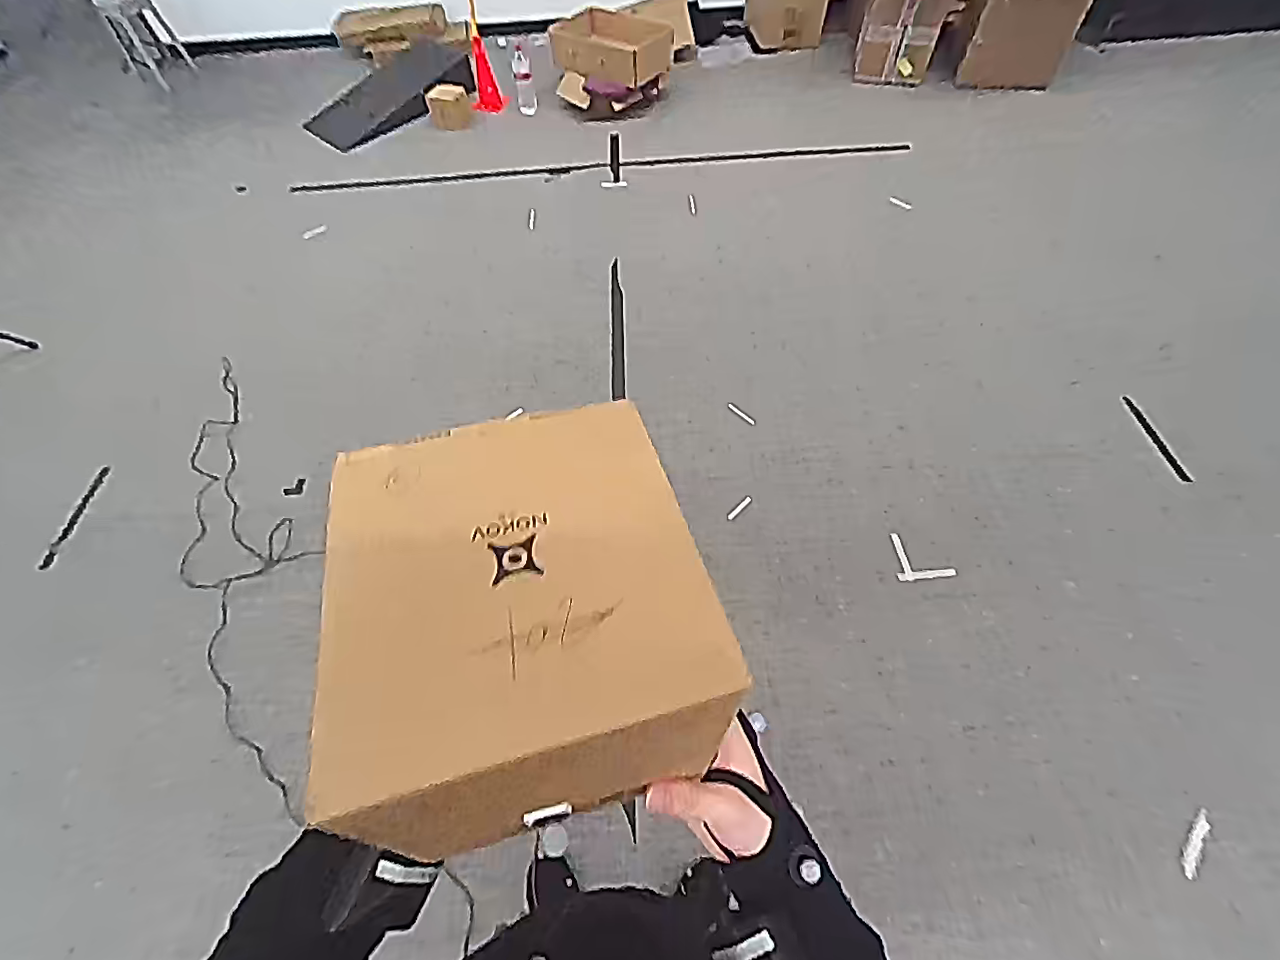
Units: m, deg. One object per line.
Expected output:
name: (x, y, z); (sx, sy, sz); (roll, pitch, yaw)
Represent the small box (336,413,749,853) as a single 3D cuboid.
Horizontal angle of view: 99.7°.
small box: (-0.057, 0.090, 0.322); (0.168, 0.176, 0.179); (-13, 52, -11)
